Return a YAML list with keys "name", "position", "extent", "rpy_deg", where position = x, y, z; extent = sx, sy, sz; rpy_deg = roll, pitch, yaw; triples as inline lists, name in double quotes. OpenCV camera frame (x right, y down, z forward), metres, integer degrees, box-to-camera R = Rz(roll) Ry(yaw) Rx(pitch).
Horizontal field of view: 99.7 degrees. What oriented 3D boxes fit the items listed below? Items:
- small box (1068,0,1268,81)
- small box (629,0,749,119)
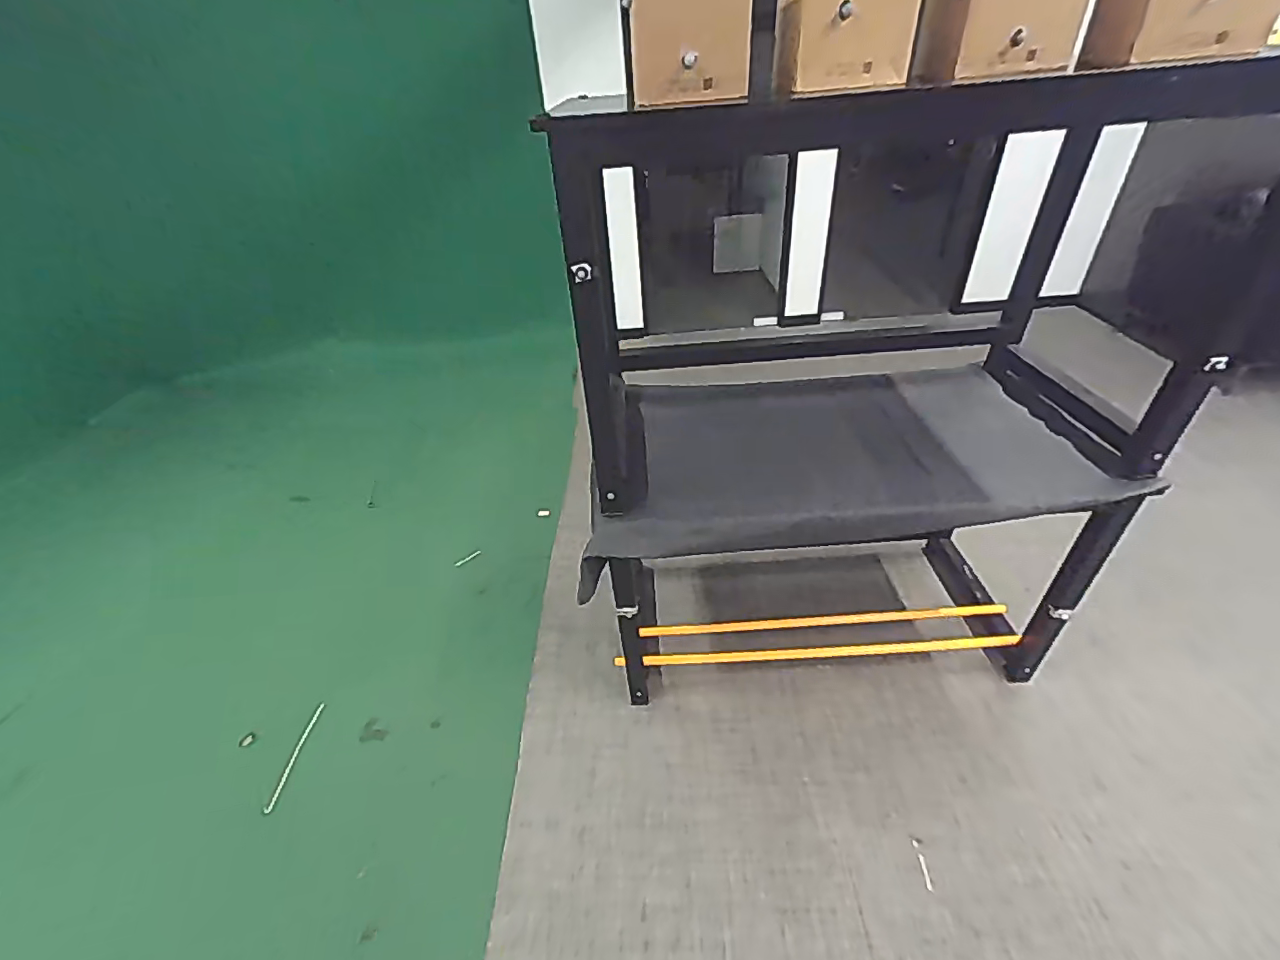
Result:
- name: "small box"
  position: [0.790, -0.706, 0.803]
  extent: [0.168, 0.176, 0.179]
  rpy_deg: [3, 37, 11]
- name: "small box"
  position: [0.068, -0.671, 0.843]
  extent: [0.168, 0.176, 0.179]
  rpy_deg: [-5, 37, 0]
